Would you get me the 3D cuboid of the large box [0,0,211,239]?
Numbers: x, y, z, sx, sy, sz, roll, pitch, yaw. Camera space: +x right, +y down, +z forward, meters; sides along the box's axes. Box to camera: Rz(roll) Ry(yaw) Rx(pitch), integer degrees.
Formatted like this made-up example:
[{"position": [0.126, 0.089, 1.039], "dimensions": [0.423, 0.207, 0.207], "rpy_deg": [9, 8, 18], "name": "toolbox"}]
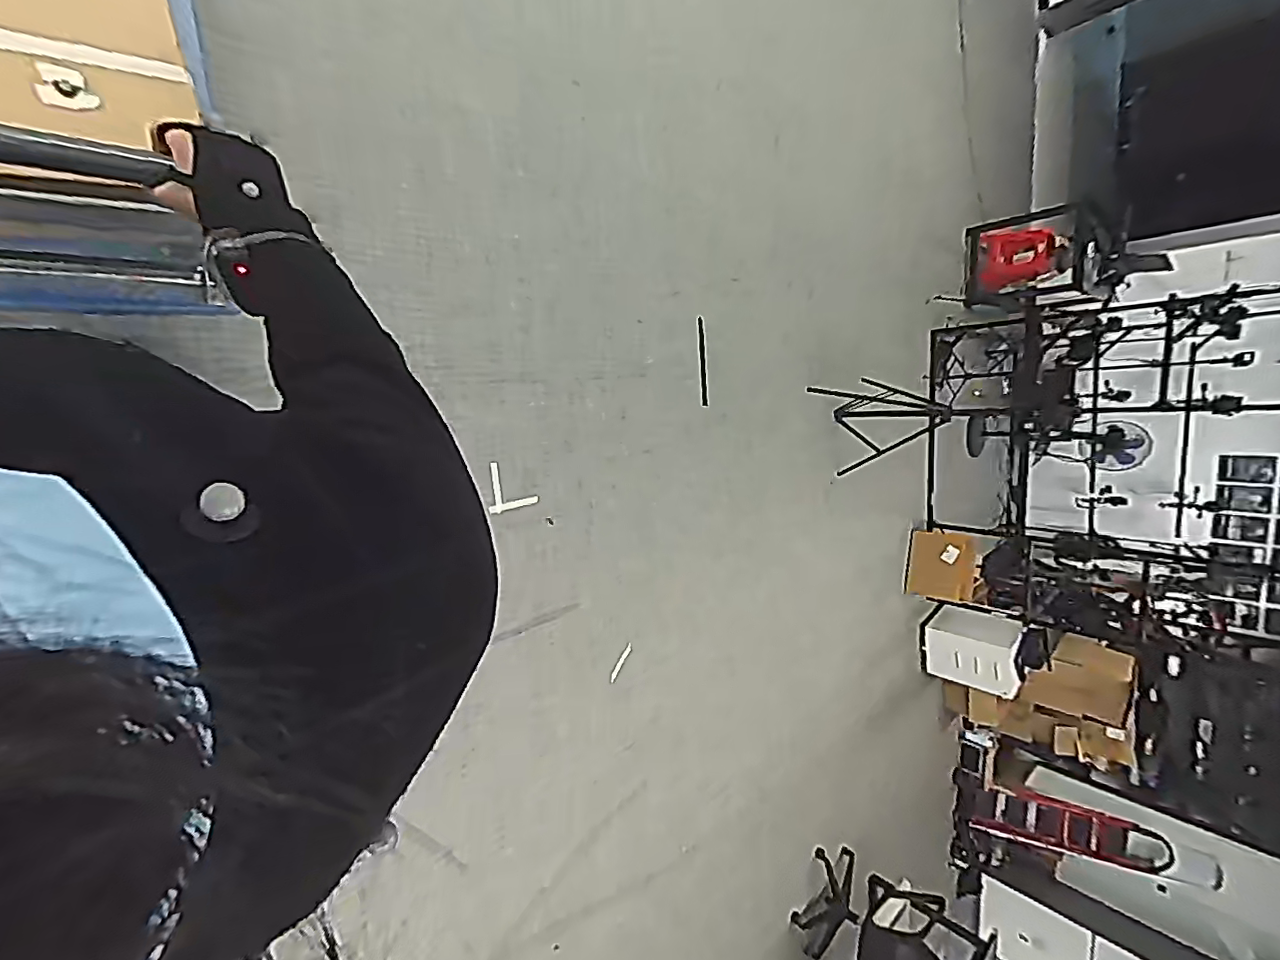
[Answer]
[{"position": [-0.909, -0.546, 0.758], "dimensions": [0.408, 0.320, 0.320], "rpy_deg": [-18, 107, -42], "name": "large box"}]
